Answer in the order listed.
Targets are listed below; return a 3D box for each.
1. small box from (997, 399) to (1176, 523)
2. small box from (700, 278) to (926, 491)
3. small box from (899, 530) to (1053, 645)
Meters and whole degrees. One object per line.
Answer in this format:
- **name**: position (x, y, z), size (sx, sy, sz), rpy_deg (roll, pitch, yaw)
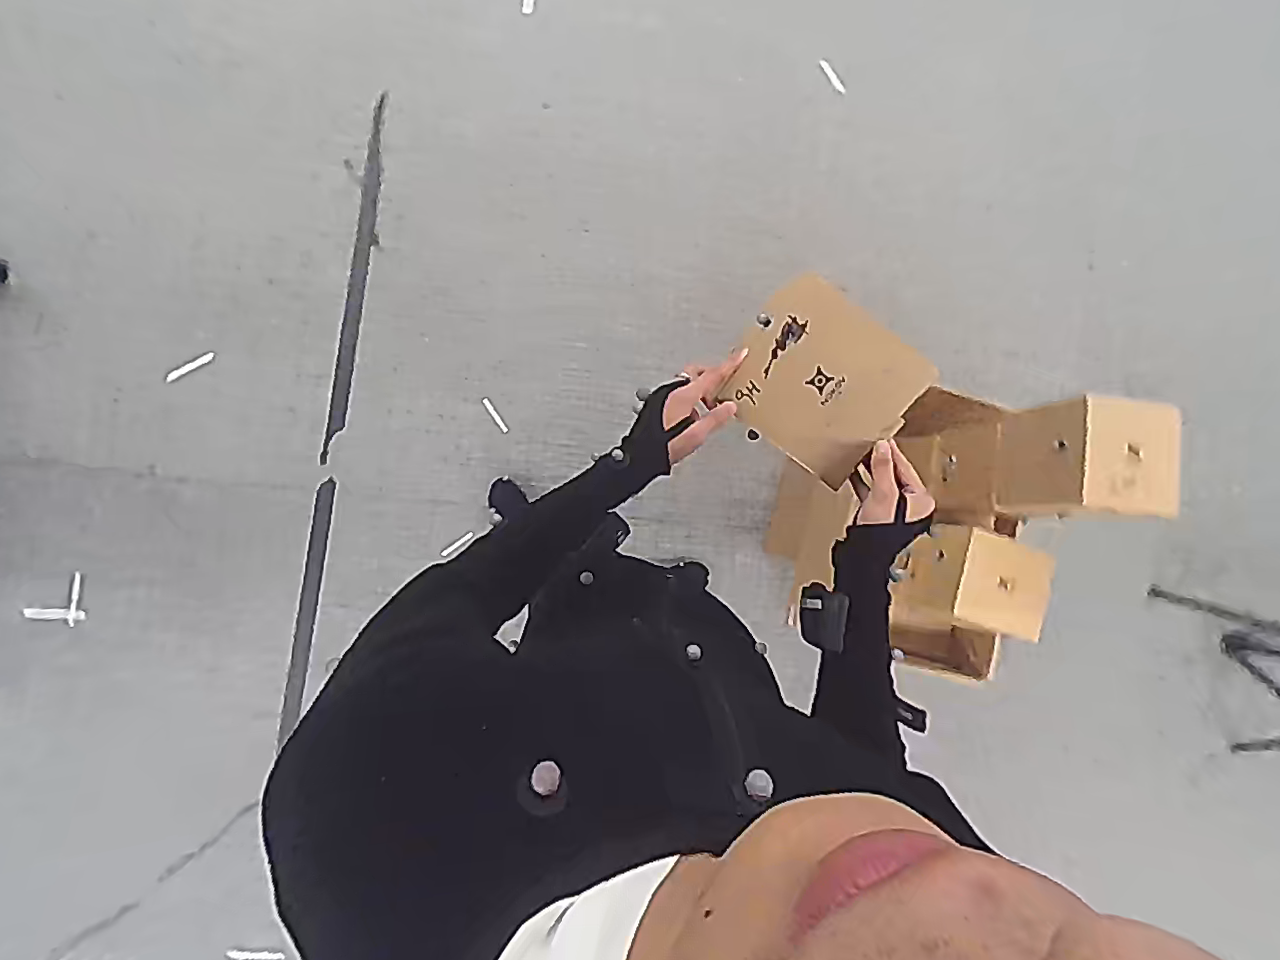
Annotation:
- **small box**: position (0.740, -0.025, 0.911), size (0.168, 0.176, 0.179), rpy_deg (7, 86, -6)
- **small box**: position (0.190, -0.119, 0.653), size (0.179, 0.176, 0.168), rpy_deg (35, 104, -6)
- **small box**: position (0.641, 0.202, 1.051), size (0.179, 0.176, 0.168), rpy_deg (19, 83, -6)
